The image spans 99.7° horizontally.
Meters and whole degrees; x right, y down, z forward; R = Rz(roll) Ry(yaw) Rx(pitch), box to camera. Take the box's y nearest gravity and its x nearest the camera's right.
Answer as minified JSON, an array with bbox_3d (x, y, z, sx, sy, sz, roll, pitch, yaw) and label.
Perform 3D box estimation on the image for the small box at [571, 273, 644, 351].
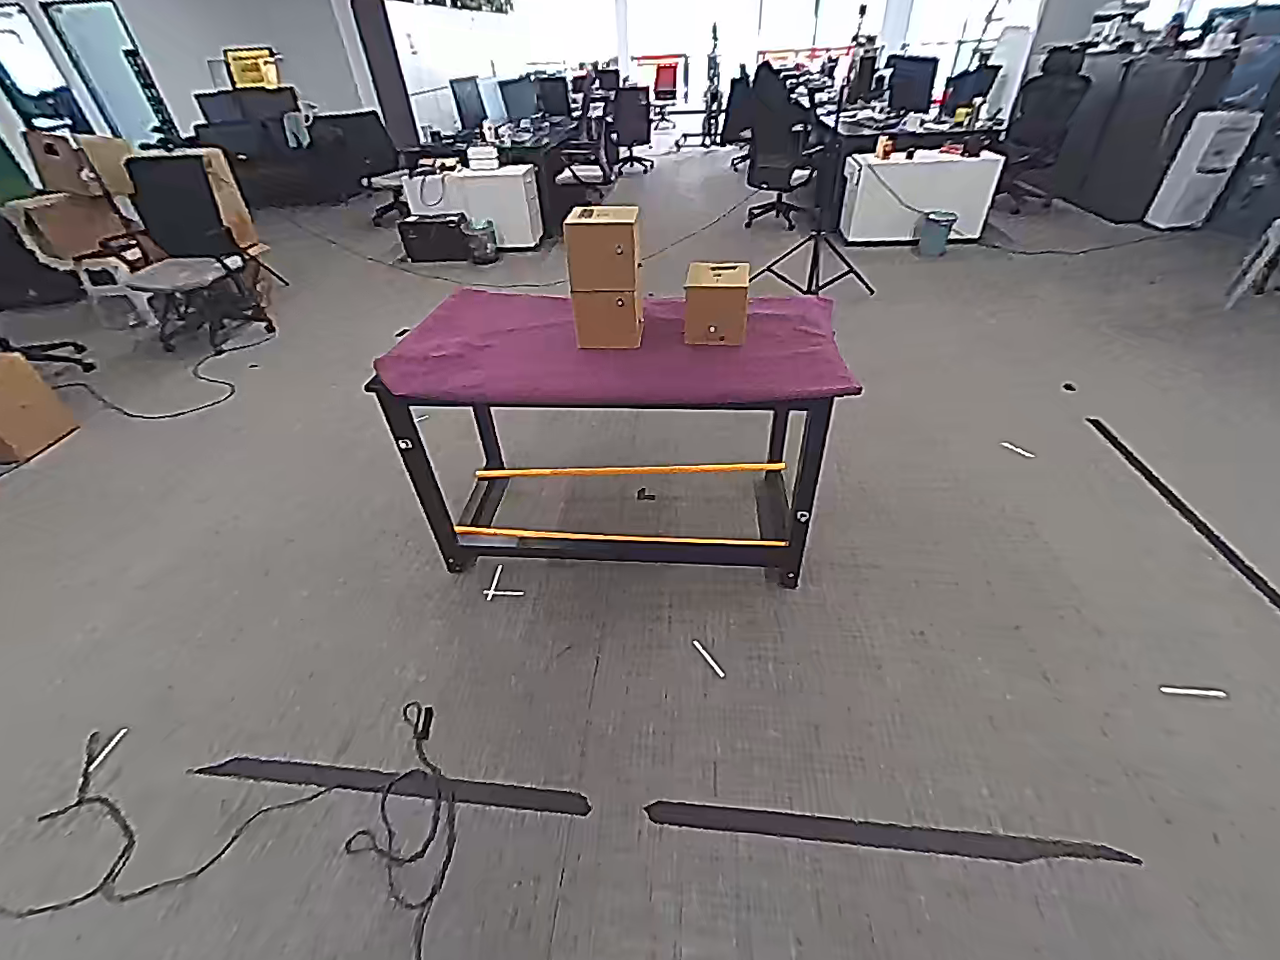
[{"bbox_3d":[-0.086,-0.474,1.528,0.179,0.176,0.168,2,39,5],"label":"small box"}]

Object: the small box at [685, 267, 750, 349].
[{"bbox_3d":[0.216,-0.485,1.515,0.168,0.176,0.179,3,40,9],"label":"small box"}]
